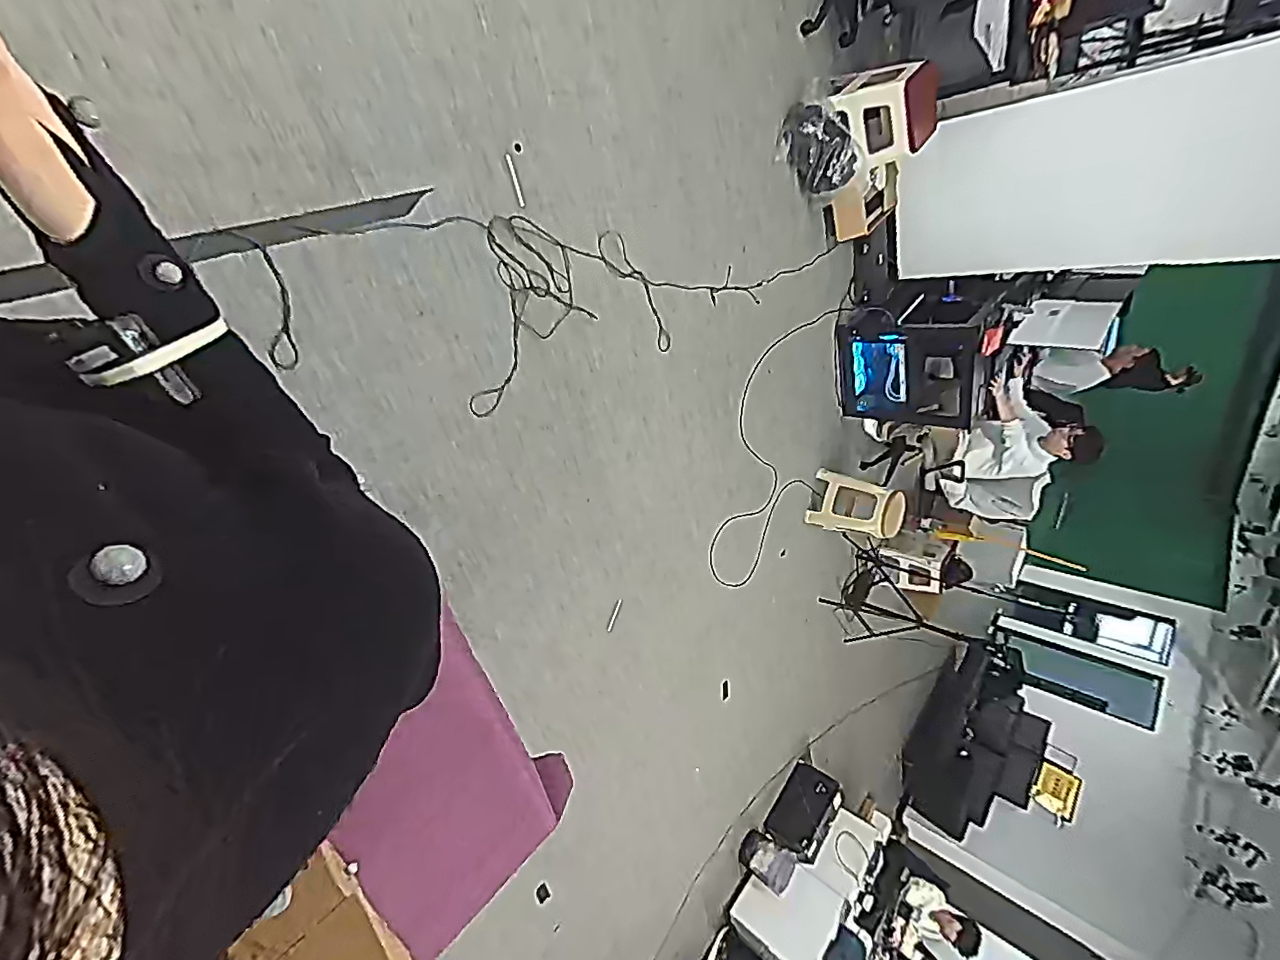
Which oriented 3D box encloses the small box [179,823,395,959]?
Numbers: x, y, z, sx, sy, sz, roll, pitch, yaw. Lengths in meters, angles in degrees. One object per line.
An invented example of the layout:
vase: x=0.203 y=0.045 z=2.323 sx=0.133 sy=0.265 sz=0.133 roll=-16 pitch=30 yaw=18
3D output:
small box: x=-0.460 y=0.609 z=0.705 sx=0.179 sy=0.176 sz=0.168 roll=-33 pitch=123 yaw=-36
